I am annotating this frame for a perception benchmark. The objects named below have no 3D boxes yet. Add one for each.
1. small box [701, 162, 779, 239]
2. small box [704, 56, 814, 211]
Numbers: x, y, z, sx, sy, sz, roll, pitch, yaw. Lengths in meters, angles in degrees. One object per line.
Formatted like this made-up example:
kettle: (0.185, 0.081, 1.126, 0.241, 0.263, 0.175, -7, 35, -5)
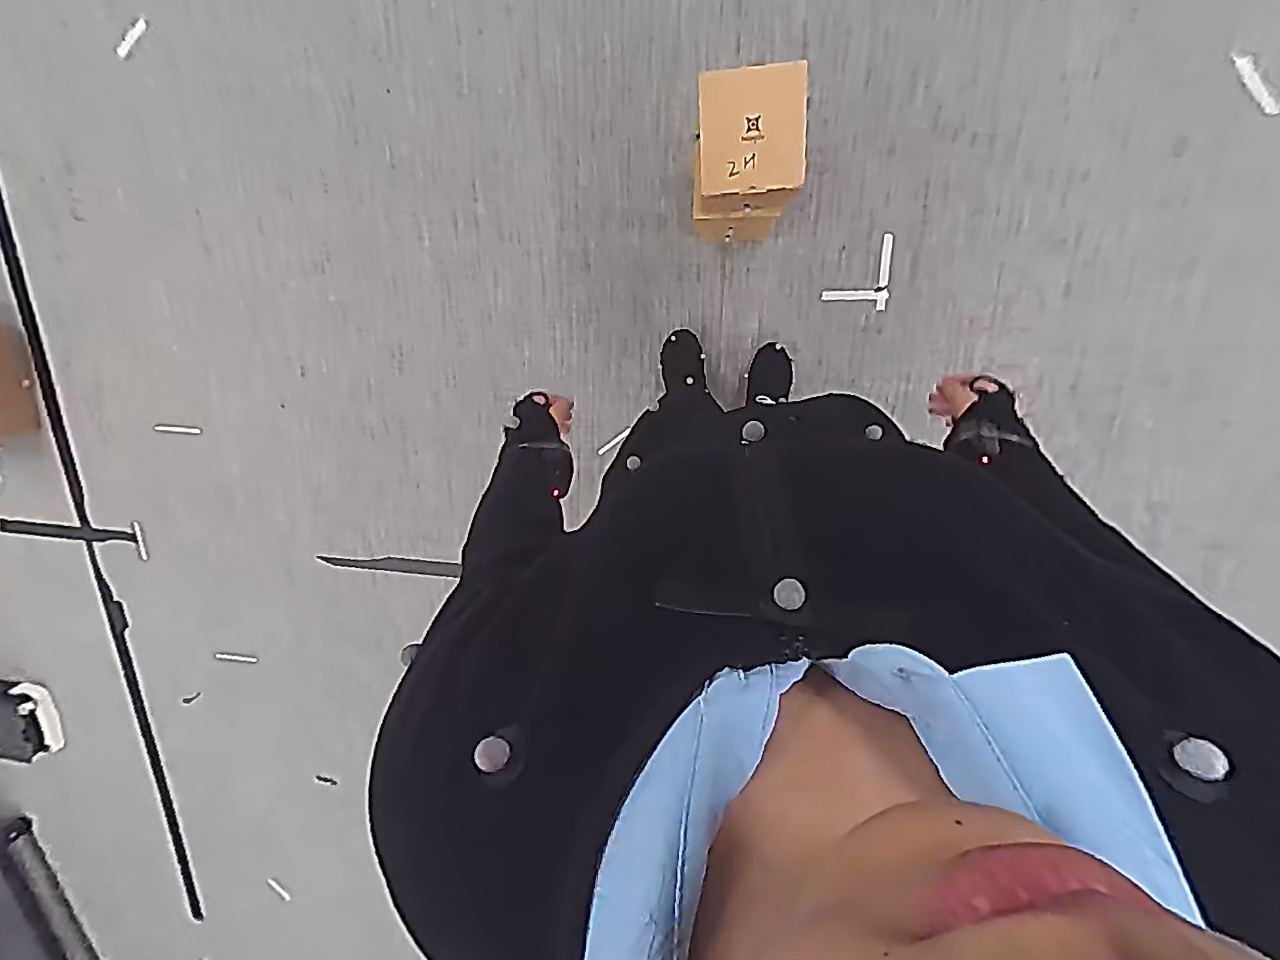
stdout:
small box: (0.226, -0.657, 1.232, 0.168, 0.176, 0.179, 2, 107, 6)
small box: (0.193, -0.572, 0.915, 0.168, 0.176, 0.179, -1, 107, 8)
